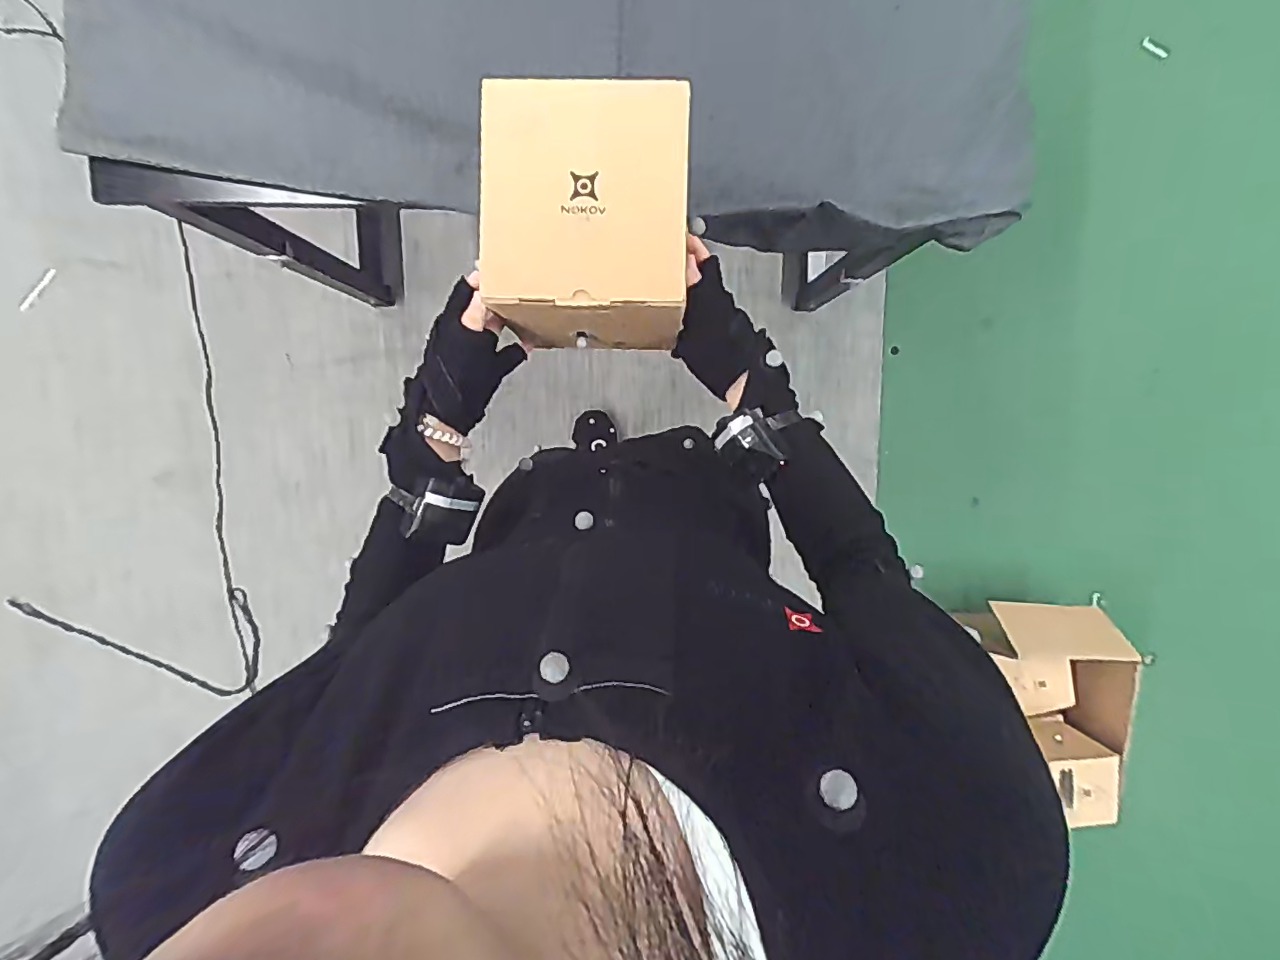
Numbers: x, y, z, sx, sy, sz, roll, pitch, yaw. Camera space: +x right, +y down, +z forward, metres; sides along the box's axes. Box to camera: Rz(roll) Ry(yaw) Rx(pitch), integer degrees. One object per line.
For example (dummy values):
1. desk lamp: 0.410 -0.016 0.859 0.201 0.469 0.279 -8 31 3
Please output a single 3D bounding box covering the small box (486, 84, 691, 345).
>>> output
1. small box: -0.043 -0.237 0.522 0.168 0.176 0.179 1 94 1
